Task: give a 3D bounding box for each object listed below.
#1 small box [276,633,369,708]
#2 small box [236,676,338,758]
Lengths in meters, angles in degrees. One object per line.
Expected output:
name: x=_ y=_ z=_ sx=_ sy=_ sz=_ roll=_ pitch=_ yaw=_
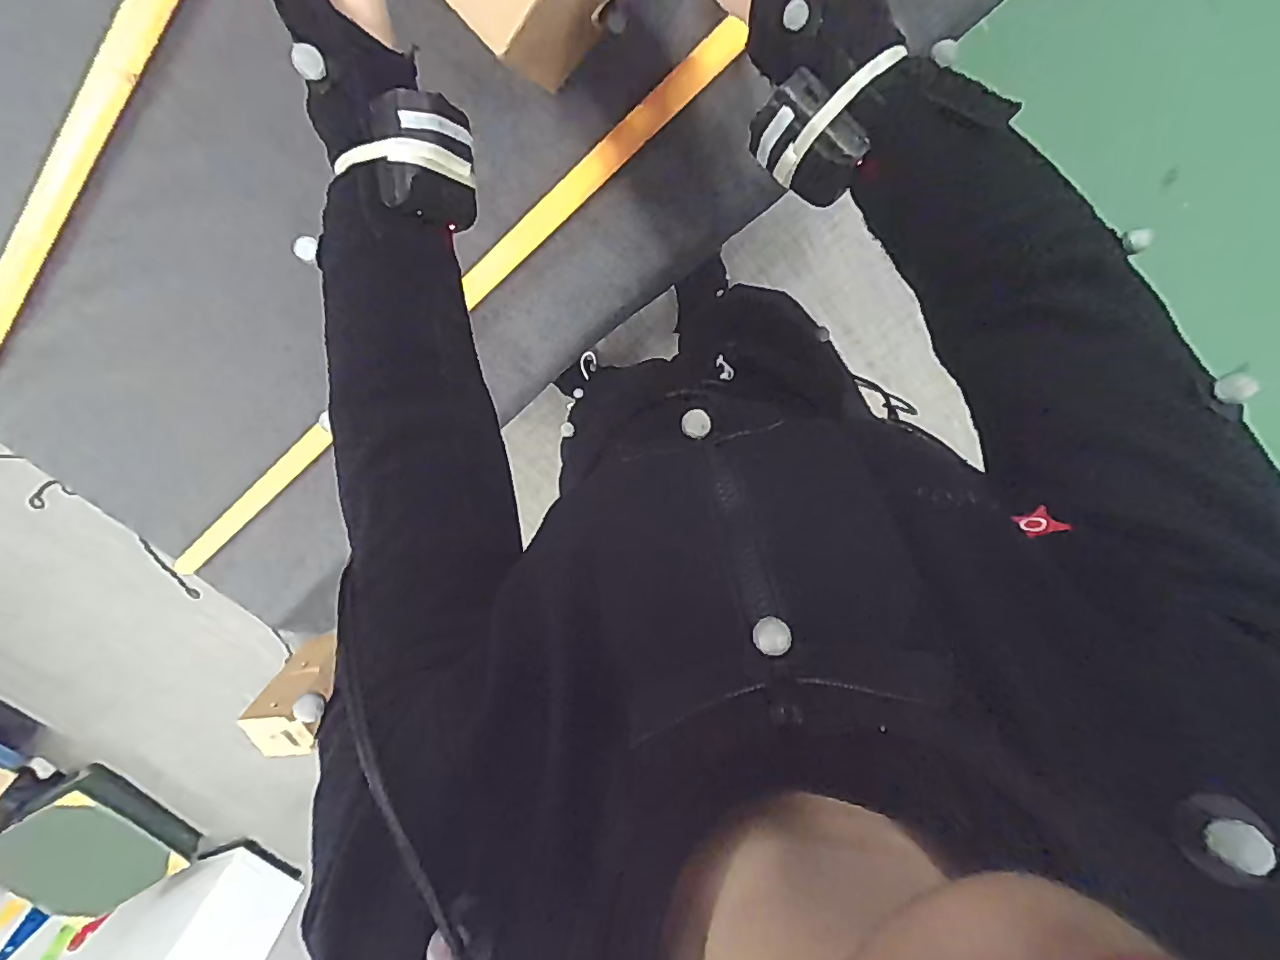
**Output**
small box: x=-1.046 y=0.639 z=1.800 sx=0.168 sy=0.176 sz=0.179 roll=-14 pitch=116 yaw=12
small box: x=-1.068 y=0.722 z=1.659 sx=0.179 sy=0.176 sz=0.168 roll=-9 pitch=116 yaw=11
